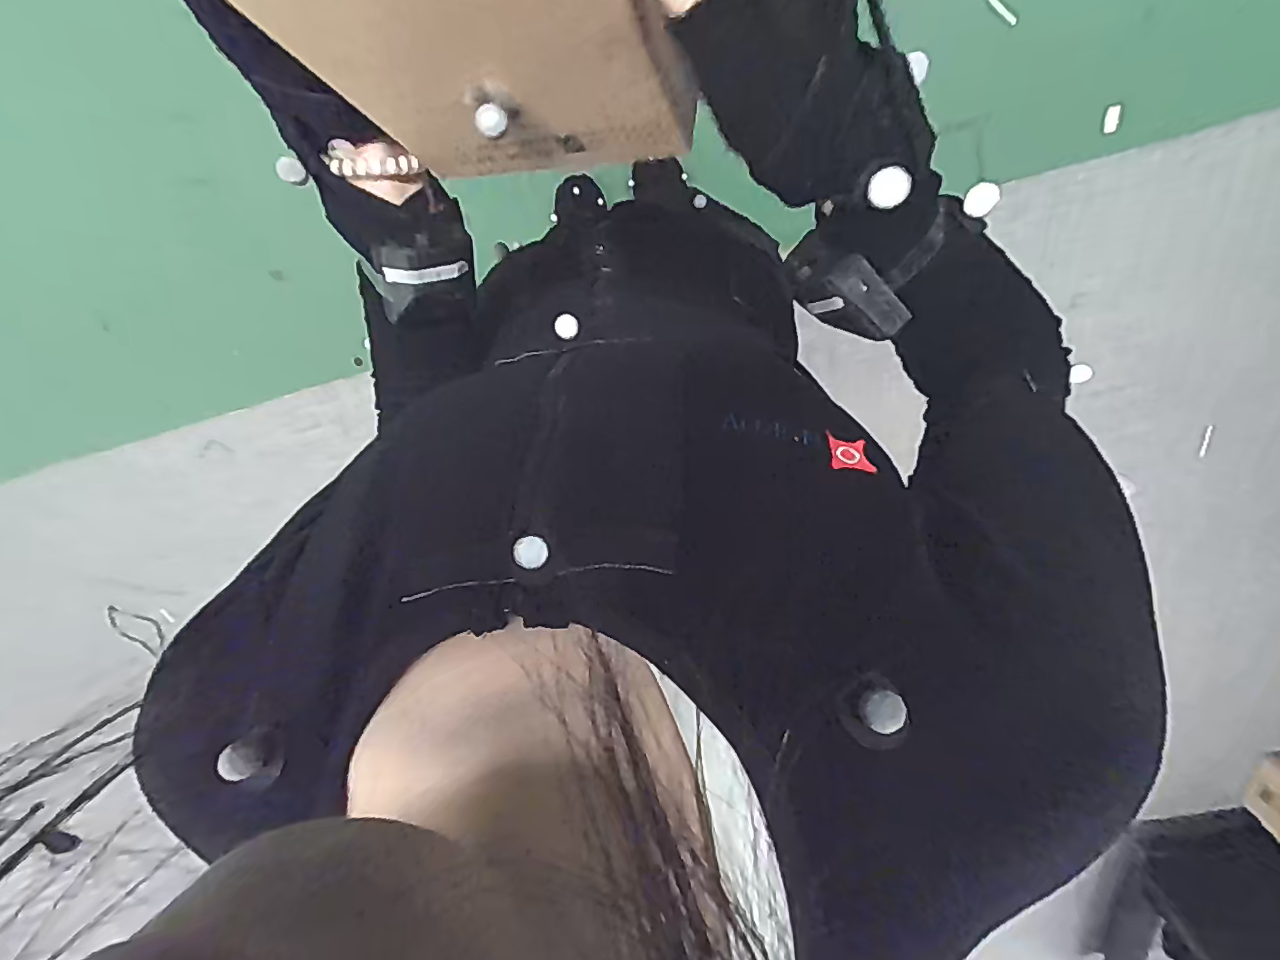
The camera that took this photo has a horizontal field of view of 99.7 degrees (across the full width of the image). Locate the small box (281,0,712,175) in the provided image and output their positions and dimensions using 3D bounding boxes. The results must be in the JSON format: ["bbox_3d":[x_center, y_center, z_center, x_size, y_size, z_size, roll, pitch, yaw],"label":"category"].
[{"bbox_3d":[-0.063,-0.271,0.238,0.168,0.176,0.179,6,90,19],"label":"small box"}]
